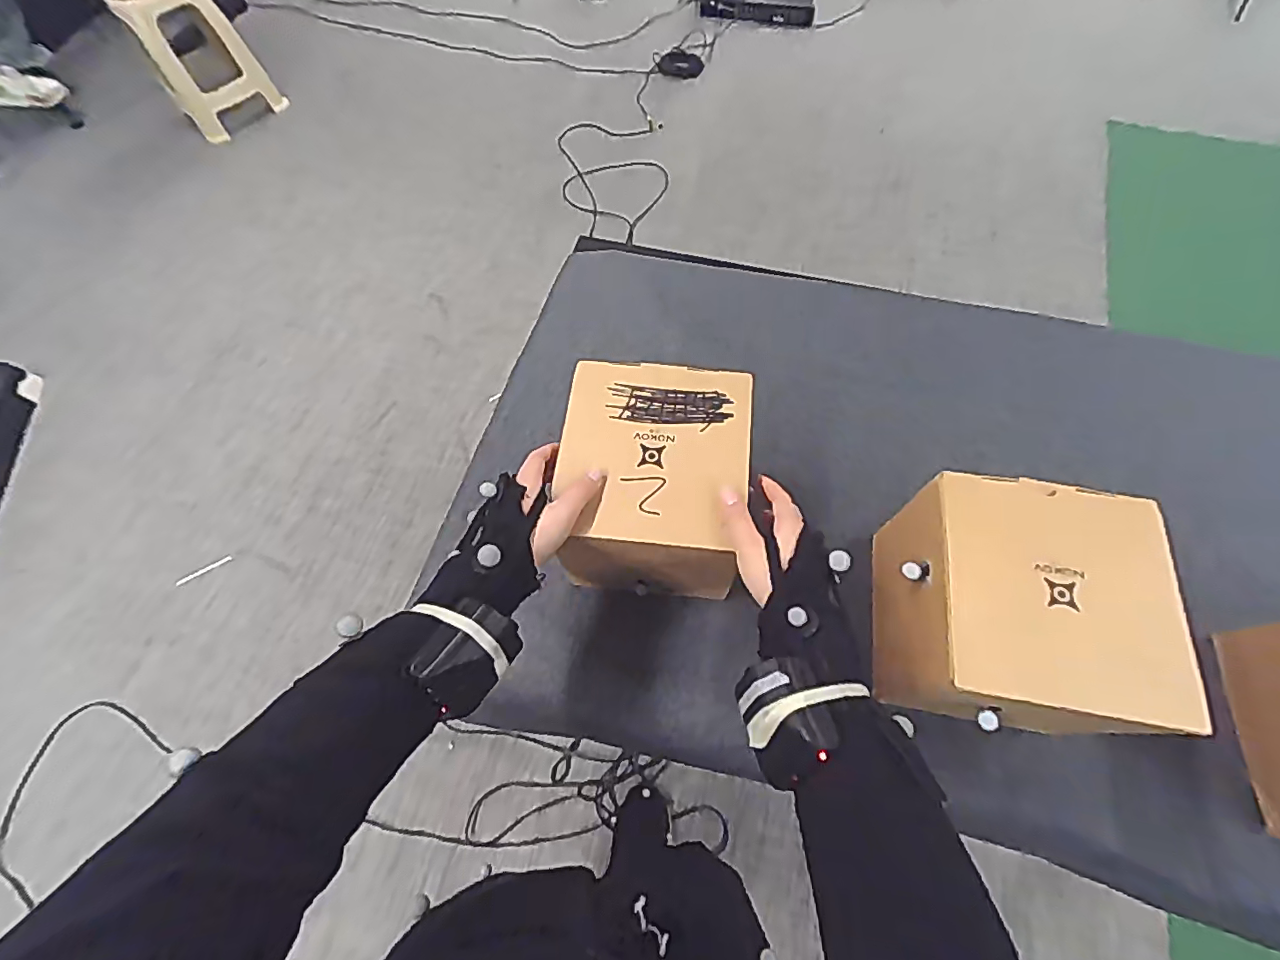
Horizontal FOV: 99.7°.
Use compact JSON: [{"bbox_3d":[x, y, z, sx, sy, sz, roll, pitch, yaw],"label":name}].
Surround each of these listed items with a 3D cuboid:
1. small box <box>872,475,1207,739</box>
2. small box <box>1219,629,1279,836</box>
[{"bbox_3d":[0.317,0.119,0.476,0.168,0.176,0.179,9,64,7],"label":"small box"},{"bbox_3d":[0.625,0.208,0.420,0.168,0.176,0.179,7,65,7],"label":"small box"}]
